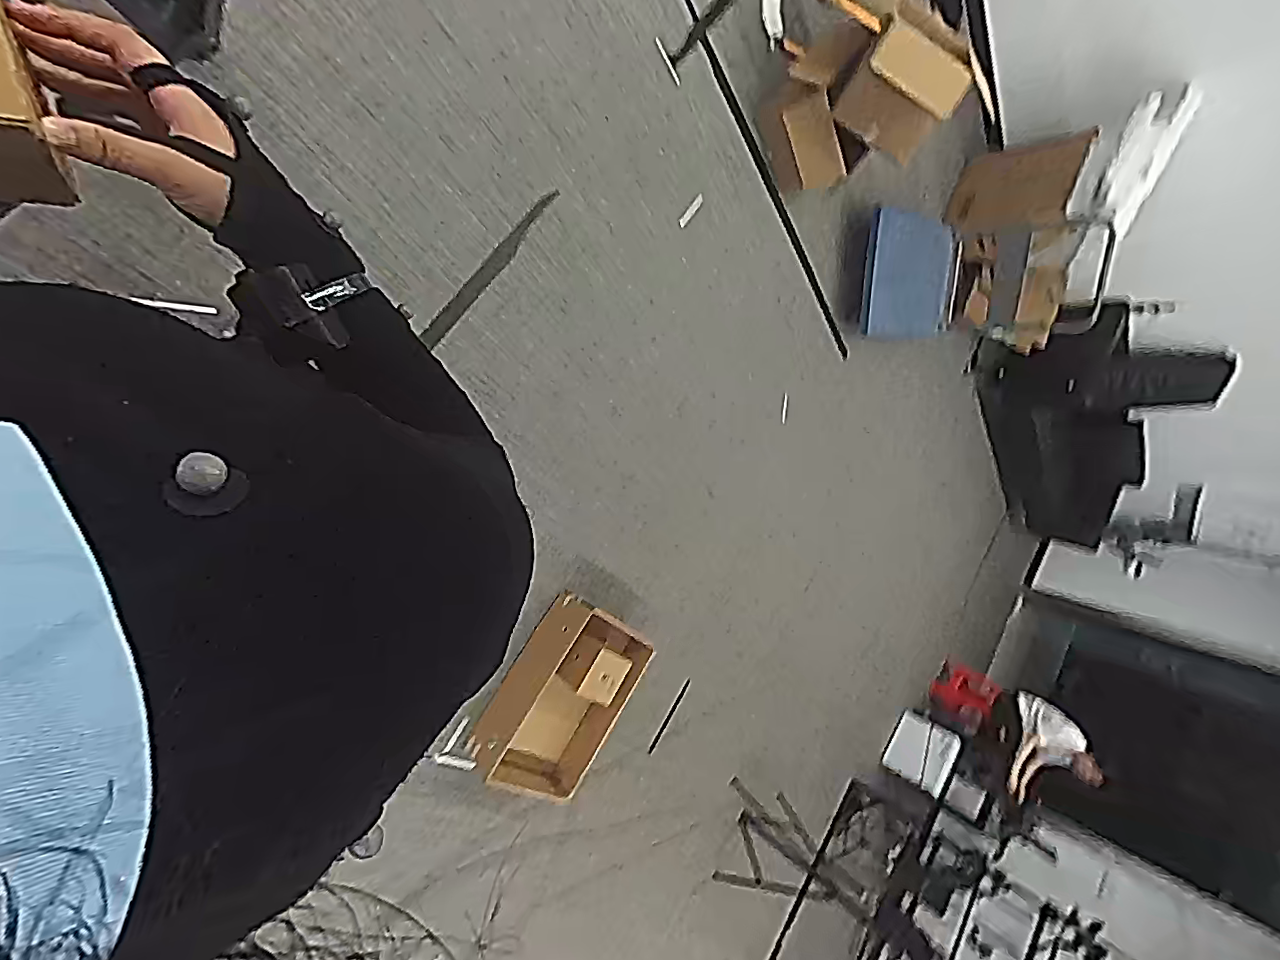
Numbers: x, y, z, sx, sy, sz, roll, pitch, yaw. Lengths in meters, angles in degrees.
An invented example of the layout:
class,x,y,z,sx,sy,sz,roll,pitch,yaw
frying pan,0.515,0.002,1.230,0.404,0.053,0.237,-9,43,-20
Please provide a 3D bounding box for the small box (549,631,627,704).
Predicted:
class,x,y,z,sx,sy,sz,roll,pitch,yaw
small box,-0.187,0.656,1.908,0.179,0.176,0.168,42,75,-40

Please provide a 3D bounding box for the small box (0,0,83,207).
class,x,y,z,sx,sy,sz,roll,pitch,yaw
small box,-0.414,-0.254,0.263,0.168,0.176,0.179,-14,108,-39
